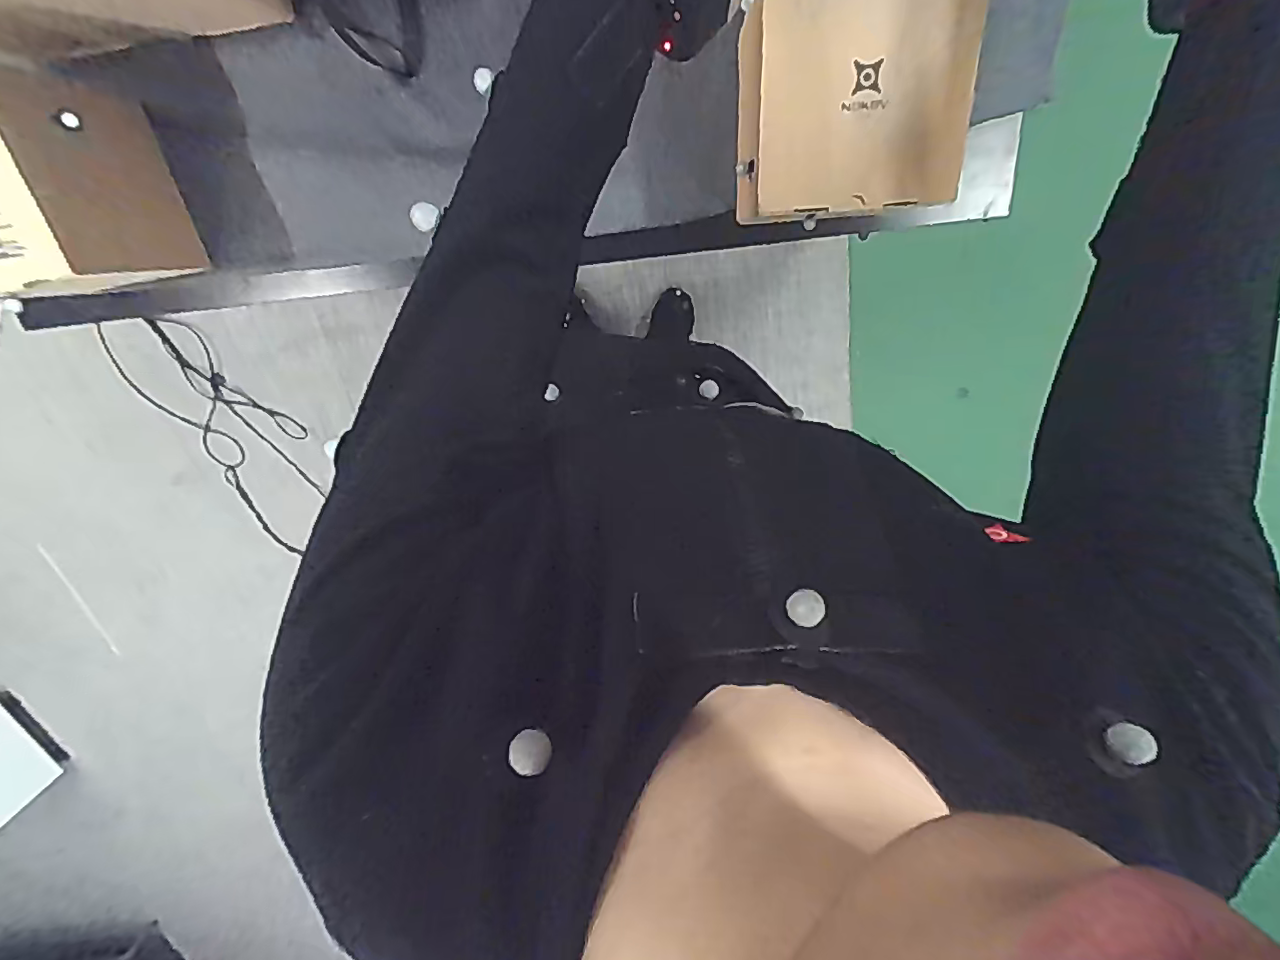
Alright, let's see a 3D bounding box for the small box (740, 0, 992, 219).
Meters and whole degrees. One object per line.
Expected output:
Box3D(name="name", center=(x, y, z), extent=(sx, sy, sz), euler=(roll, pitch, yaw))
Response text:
Box3D(name="small box", center=(0.183, -0.342, 0.494), extent=(0.168, 0.176, 0.179), euler=(-2, 115, 5))
